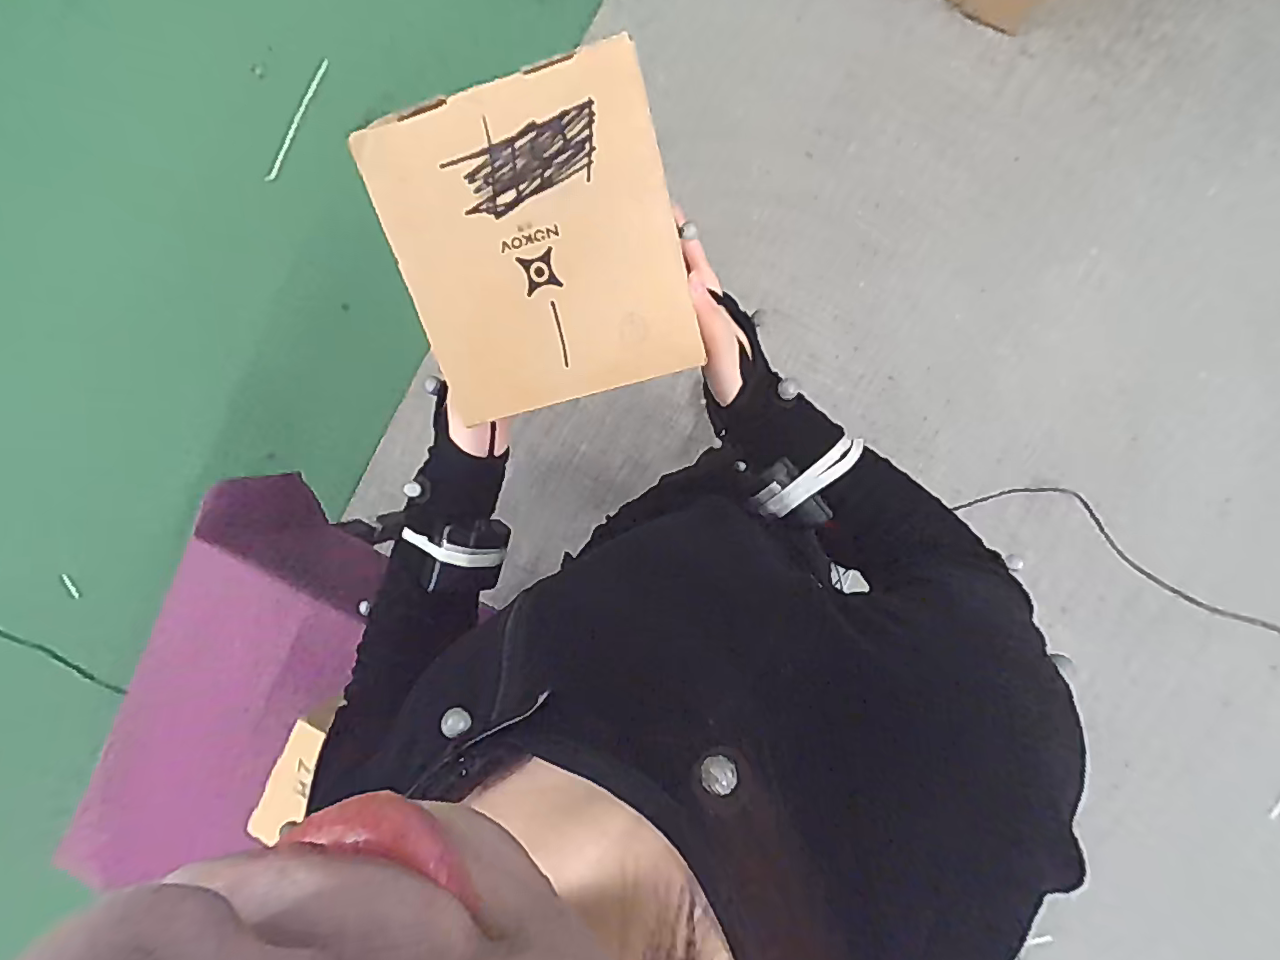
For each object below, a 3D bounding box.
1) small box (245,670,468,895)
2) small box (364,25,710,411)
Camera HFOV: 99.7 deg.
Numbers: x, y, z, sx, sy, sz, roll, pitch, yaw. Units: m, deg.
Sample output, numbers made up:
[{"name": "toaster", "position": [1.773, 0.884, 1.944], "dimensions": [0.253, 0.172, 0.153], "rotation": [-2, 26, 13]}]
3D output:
[{"name": "small box", "position": [-0.364, 0.388, 0.730], "dimensions": [0.179, 0.176, 0.168], "rotation": [28, 94, 4]}, {"name": "small box", "position": [-0.051, -0.168, 0.389], "dimensions": [0.168, 0.176, 0.179], "rotation": [-12, 111, 9]}]
